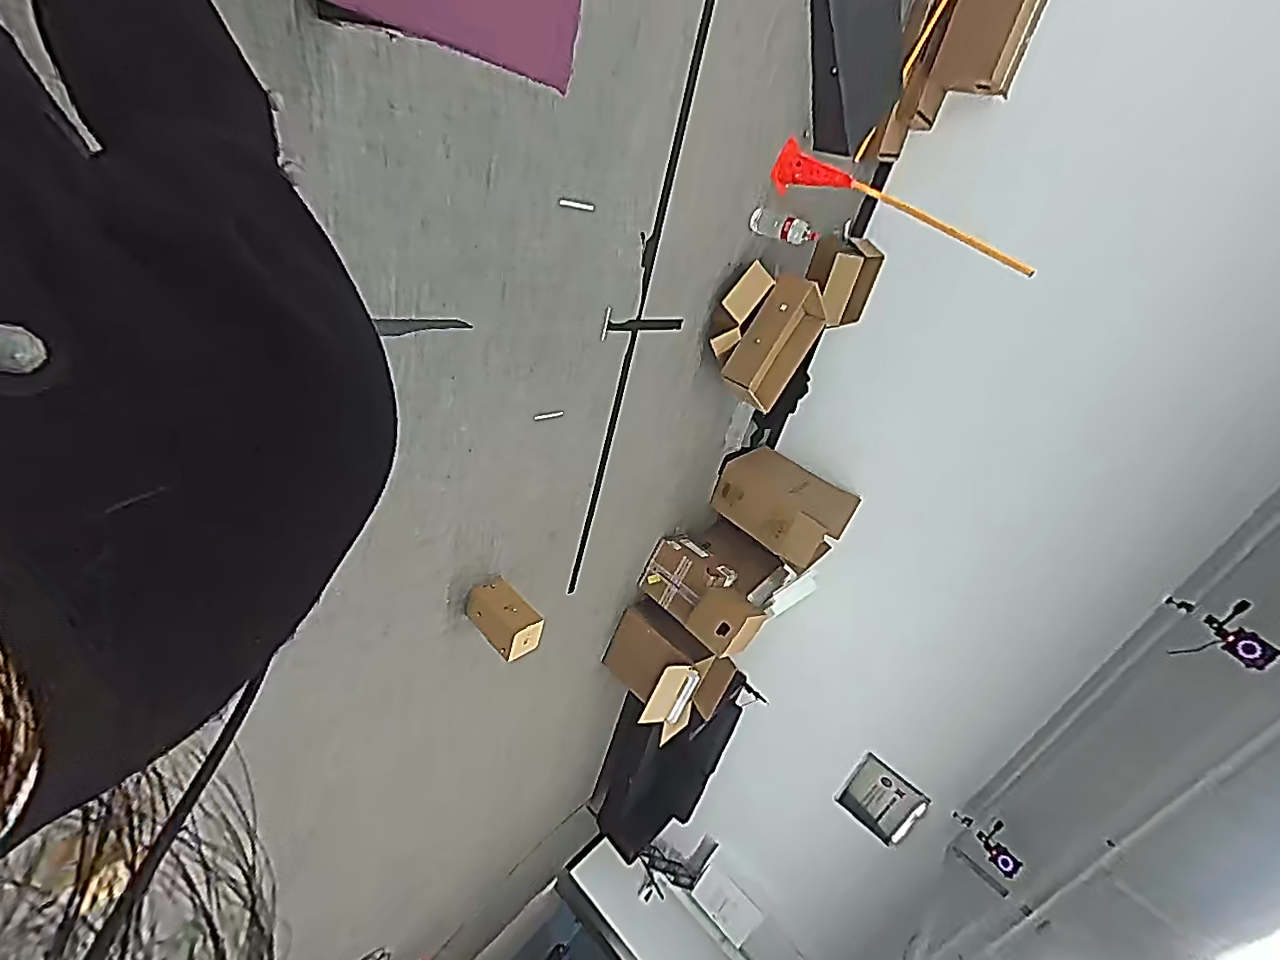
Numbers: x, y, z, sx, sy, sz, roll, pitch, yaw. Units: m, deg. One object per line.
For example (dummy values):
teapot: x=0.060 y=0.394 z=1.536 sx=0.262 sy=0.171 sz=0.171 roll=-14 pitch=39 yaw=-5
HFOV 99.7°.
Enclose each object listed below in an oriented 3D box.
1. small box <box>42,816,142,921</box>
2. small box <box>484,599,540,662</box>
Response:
small box: x=-1.666 y=1.169 z=1.644 sx=0.168 sy=0.176 sz=0.179 roll=-22 pitch=138 yaw=-44
small box: x=-0.576 y=0.665 z=2.409 sx=0.168 sy=0.176 sz=0.179 roll=-16 pitch=132 yaw=-50
